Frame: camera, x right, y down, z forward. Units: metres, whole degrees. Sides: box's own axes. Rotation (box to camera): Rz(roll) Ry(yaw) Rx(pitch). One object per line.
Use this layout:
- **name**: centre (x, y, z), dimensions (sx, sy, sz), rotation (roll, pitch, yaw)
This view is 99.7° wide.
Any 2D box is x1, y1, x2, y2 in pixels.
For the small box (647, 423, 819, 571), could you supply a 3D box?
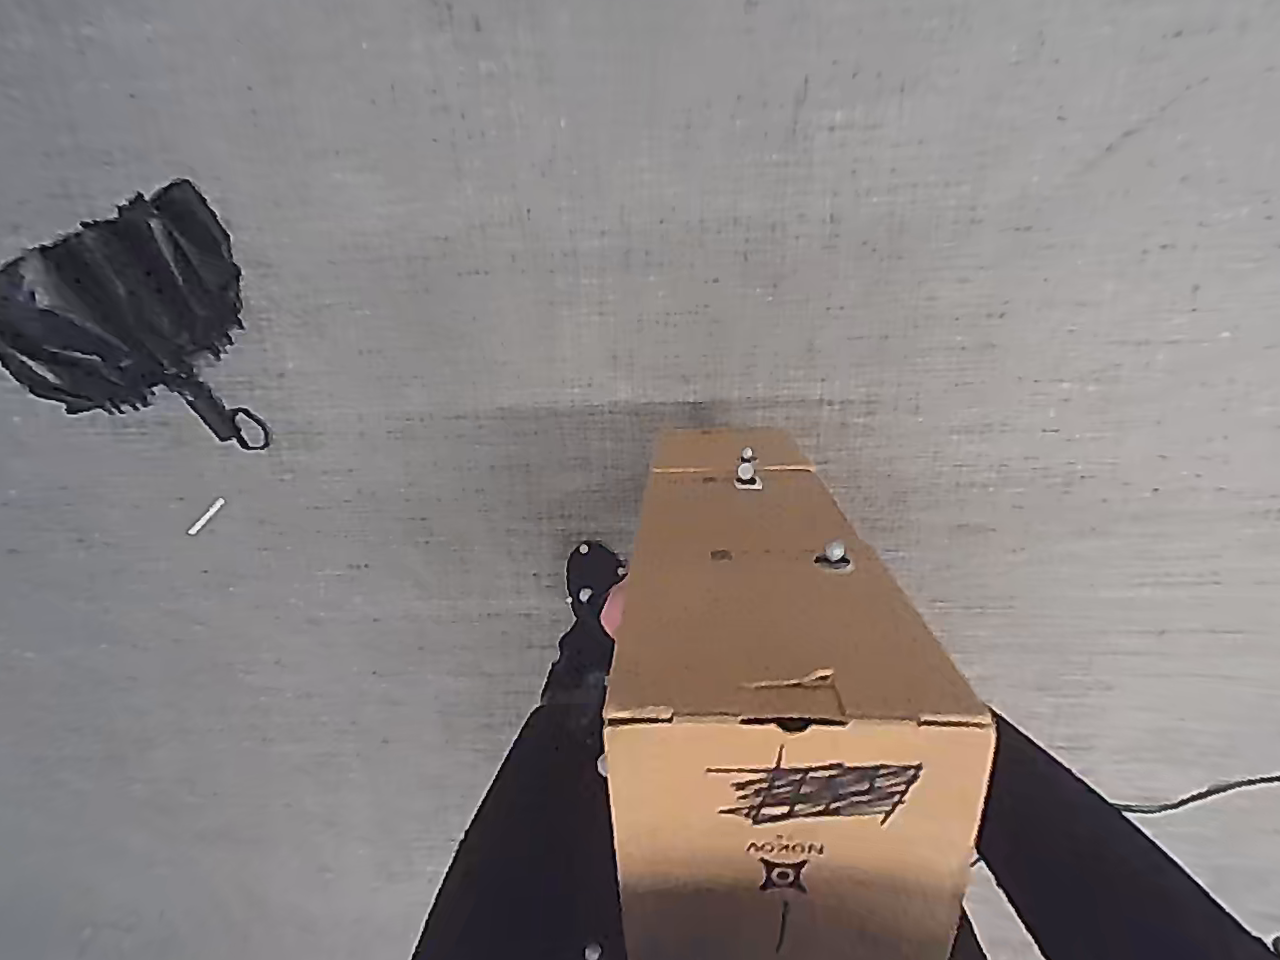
- **small box**: centre (0.099, 0.042, 0.621), dimensions (0.168, 0.176, 0.179), rotation (0, 112, 6)

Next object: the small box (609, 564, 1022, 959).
- **small box**: centre (0.076, 0.162, 0.317), dimensions (0.168, 0.176, 0.179), rotation (-1, 112, 5)
